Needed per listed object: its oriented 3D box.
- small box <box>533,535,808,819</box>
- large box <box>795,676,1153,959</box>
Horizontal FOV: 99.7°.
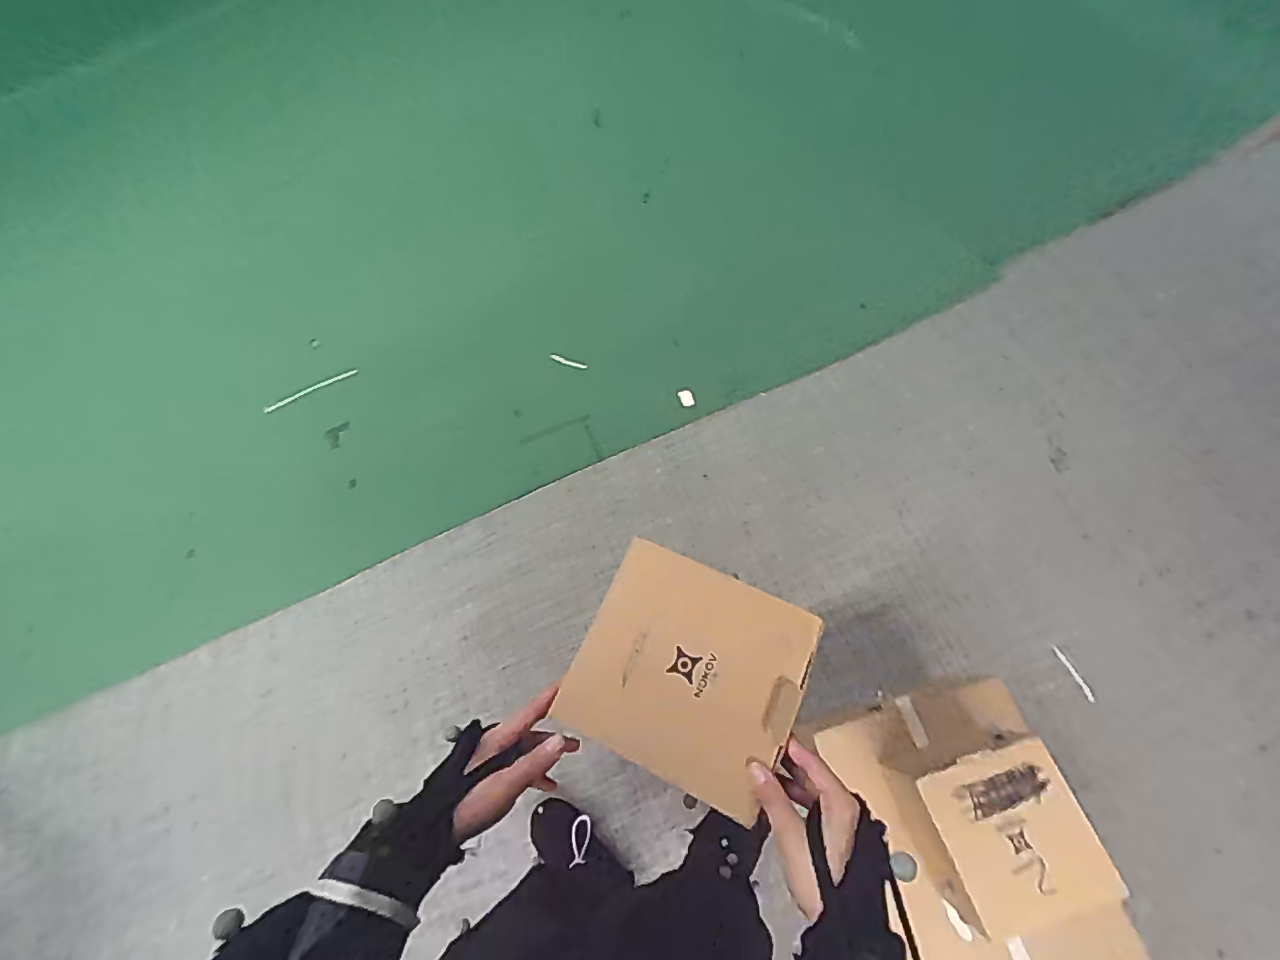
[{"bbox_3d":[0.032,0.177,0.504,0.179,0.176,0.168,20,69,13],"label":"small box"},{"bbox_3d":[0.497,0.581,0.910,0.320,0.320,0.408,-19,67,3],"label":"large box"}]
